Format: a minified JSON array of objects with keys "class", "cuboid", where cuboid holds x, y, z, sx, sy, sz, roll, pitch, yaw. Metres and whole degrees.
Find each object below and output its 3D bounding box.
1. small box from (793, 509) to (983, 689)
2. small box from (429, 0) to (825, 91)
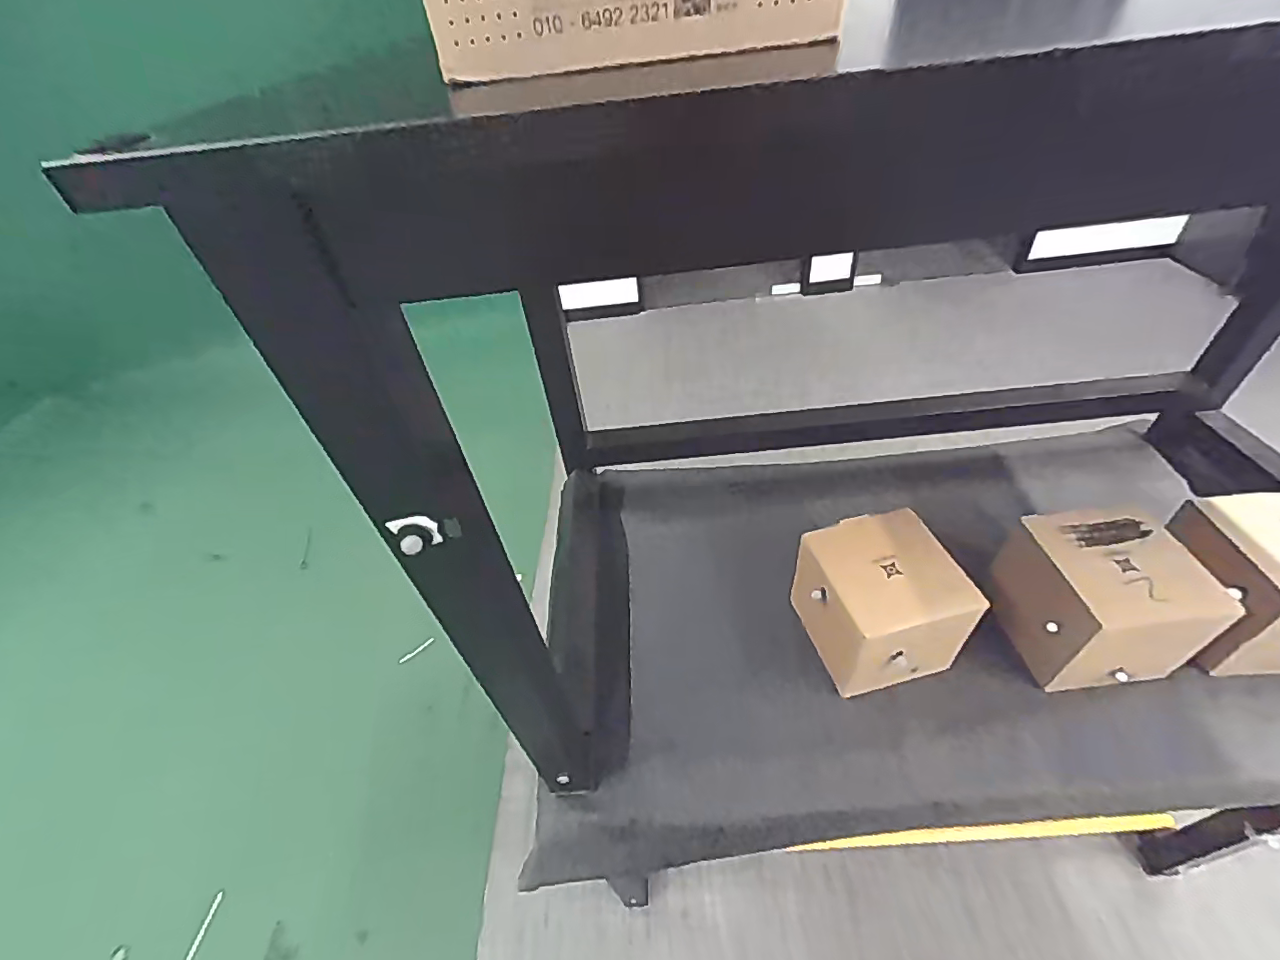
[{"class":"small box","cuboid":[0.332,0.173,0.766,0.168,0.176,0.179,-13,43,-5]},{"class":"small box","cuboid":[-0.013,-0.285,0.232,0.168,0.176,0.179,-5,44,3]}]
